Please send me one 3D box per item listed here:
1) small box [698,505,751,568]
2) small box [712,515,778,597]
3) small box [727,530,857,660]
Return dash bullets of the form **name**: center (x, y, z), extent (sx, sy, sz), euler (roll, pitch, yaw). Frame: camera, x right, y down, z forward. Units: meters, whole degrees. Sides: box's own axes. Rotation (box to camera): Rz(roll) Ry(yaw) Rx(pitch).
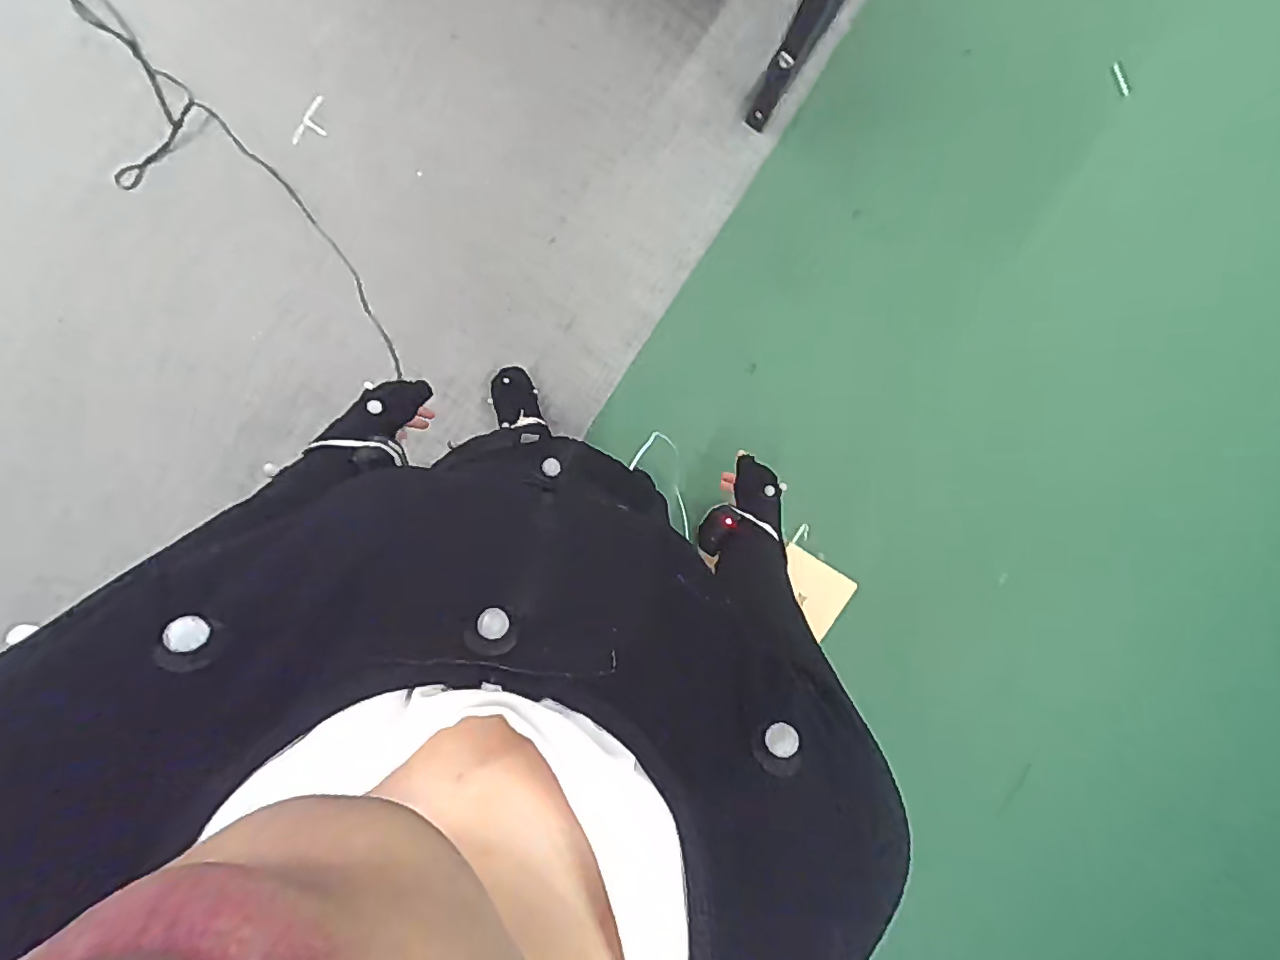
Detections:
- **small box**: center (0.278, 0.181, 1.433), extent (0.179, 0.176, 0.168), euler (34, 93, -7)
- **small box**: center (0.287, 0.208, 1.269), extent (0.168, 0.176, 0.179), euler (36, 94, -9)
- **small box**: center (0.299, 0.224, 1.110), extent (0.168, 0.176, 0.179), euler (33, 94, -7)
